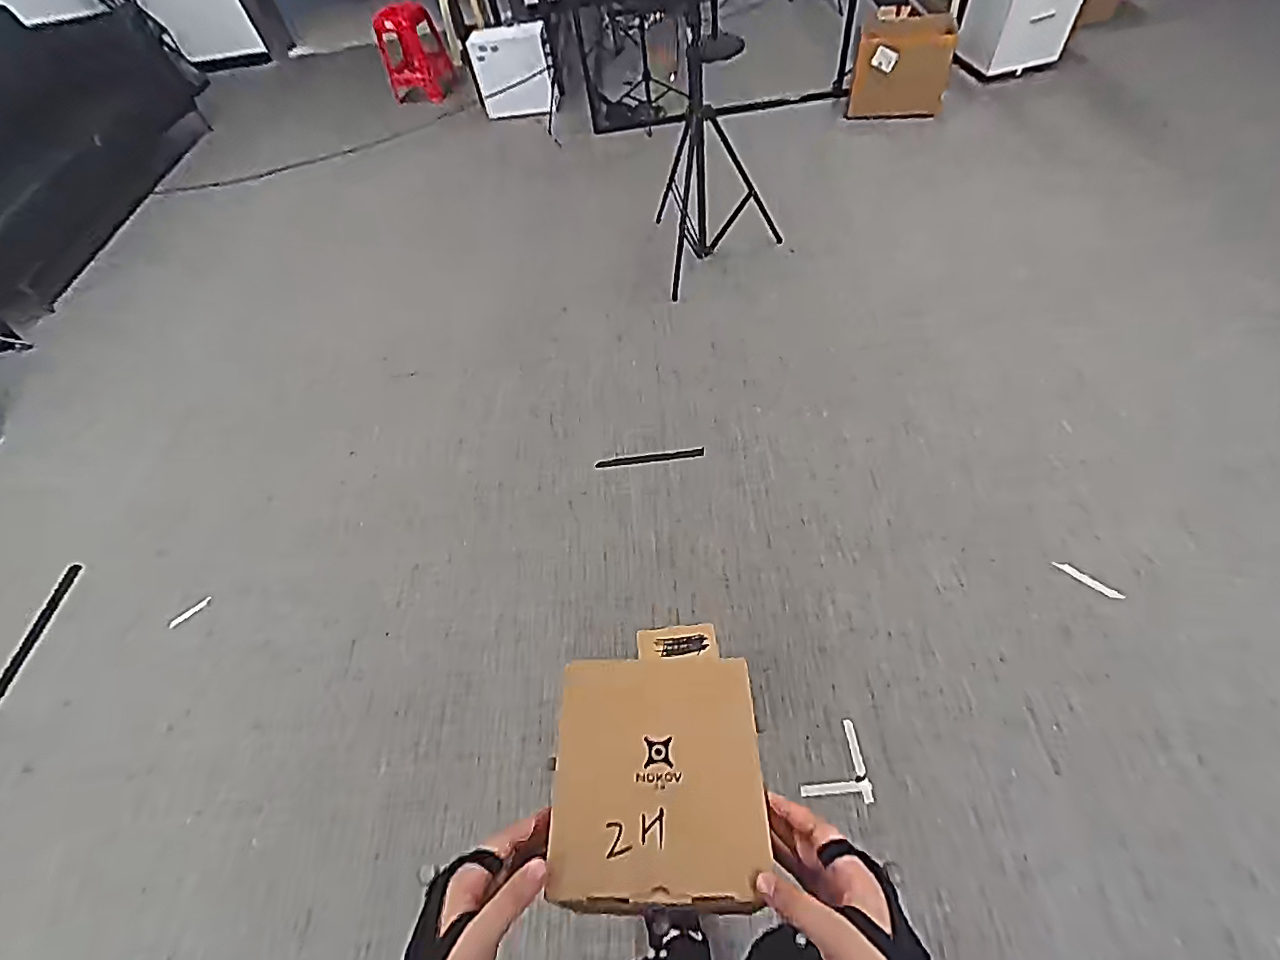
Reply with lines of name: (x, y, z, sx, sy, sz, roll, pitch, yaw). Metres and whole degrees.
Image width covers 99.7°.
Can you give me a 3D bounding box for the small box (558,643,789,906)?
small box: (0.027, 0.267, 0.492, 0.168, 0.176, 0.179, -1, 48, 2)
